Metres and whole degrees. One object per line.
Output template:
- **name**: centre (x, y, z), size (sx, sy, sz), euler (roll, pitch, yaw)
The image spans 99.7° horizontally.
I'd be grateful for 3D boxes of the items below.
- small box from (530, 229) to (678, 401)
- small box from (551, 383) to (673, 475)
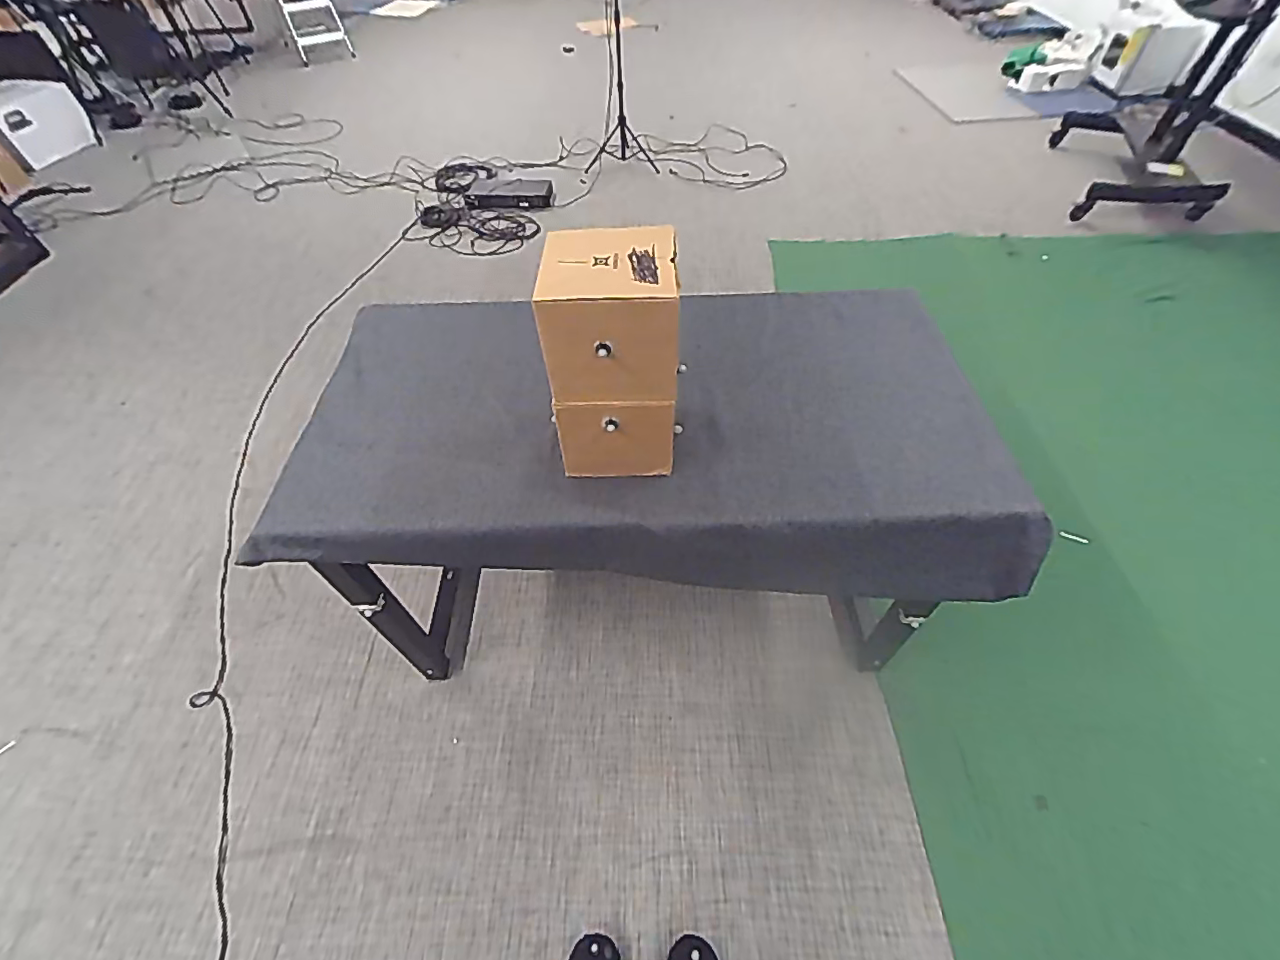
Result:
- **small box**: centre (-0.039, -0.222, 0.746), size (0.179, 0.176, 0.168), euler (-1, 53, 3)
- **small box**: centre (-0.038, -0.120, 0.875), size (0.179, 0.176, 0.168), euler (0, 53, 0)
